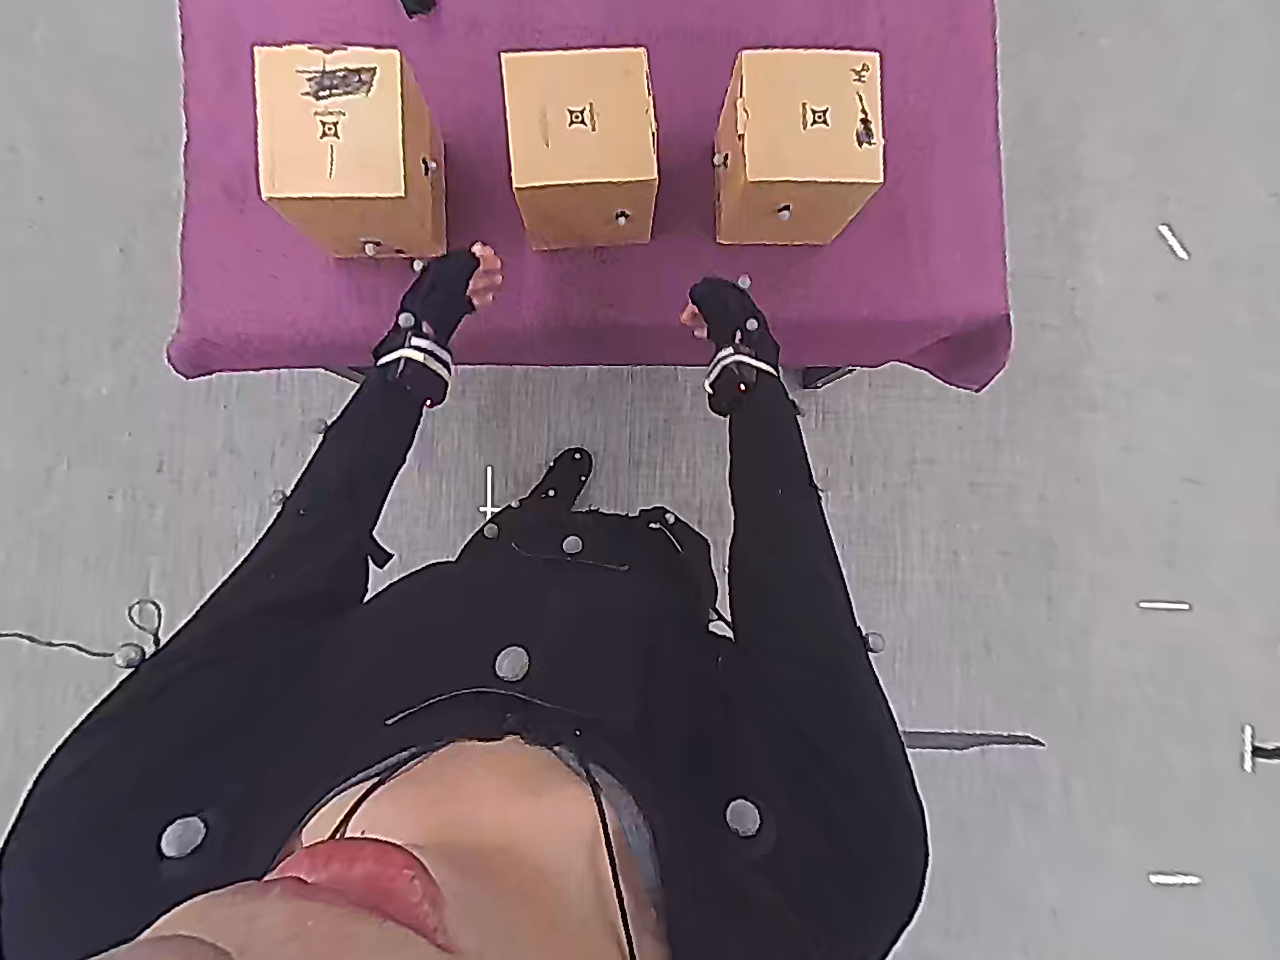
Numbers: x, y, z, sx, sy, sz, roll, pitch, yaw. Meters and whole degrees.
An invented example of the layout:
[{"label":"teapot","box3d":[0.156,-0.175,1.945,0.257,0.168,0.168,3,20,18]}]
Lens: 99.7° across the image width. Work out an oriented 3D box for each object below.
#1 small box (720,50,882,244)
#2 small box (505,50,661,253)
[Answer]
[{"label":"small box","box3d":[0.206,-0.440,0.740,0.179,0.176,0.168,-1,88,-2]},{"label":"small box","box3d":[-0.072,-0.426,0.725,0.179,0.176,0.168,-6,87,-2]}]
